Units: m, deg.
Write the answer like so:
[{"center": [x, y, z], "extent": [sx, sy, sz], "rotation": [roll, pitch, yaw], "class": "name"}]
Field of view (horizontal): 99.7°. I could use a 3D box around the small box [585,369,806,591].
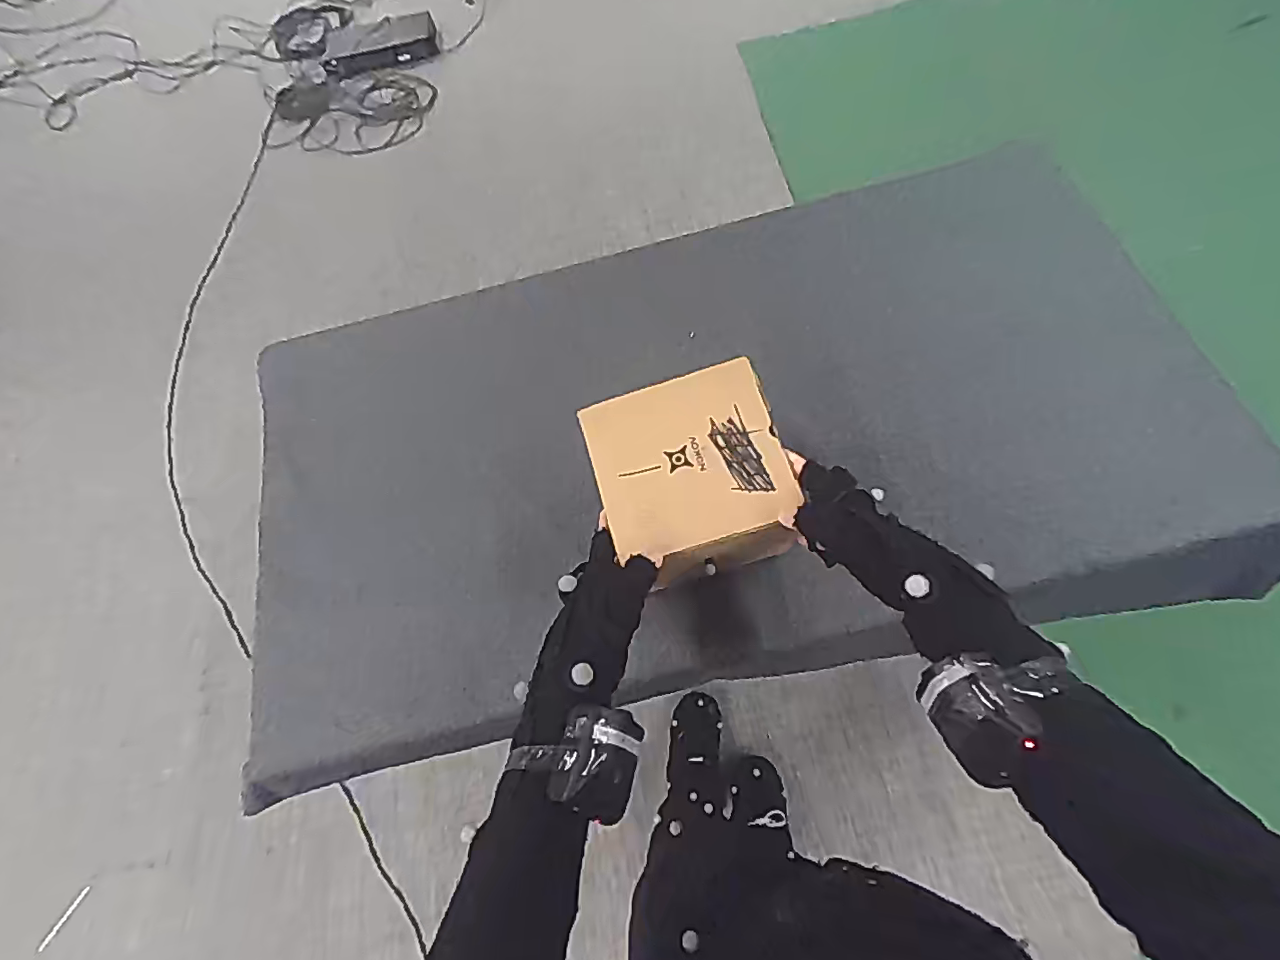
[{"center": [0.056, 0.011, 0.588], "extent": [0.179, 0.176, 0.168], "rotation": [-17, 69, 2], "class": "small box"}]
